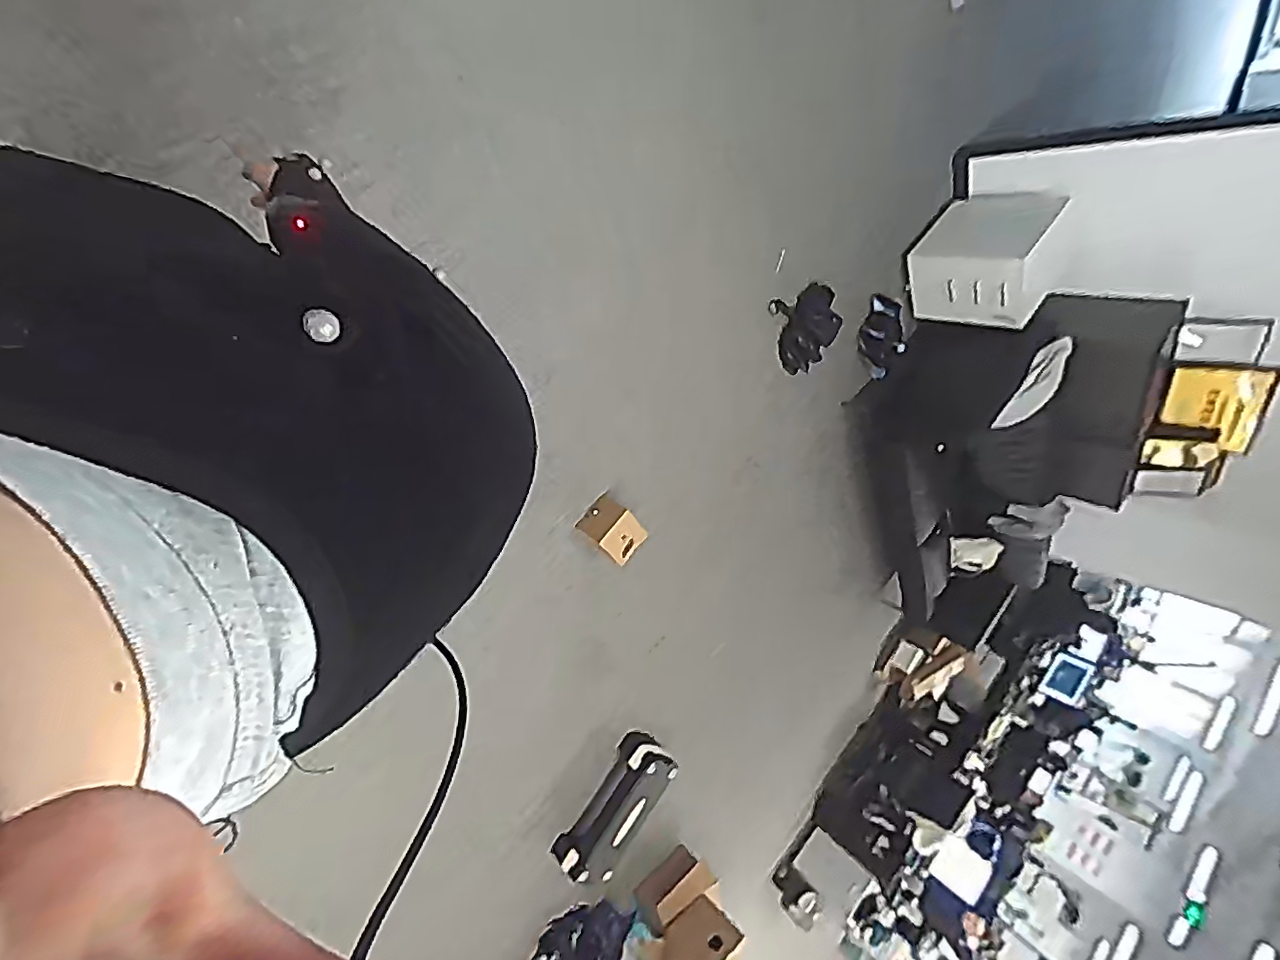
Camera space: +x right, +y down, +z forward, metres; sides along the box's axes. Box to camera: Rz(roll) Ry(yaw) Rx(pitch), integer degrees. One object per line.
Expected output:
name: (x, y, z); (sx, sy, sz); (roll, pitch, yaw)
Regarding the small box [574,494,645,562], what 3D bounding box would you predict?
small box: (-0.118, 0.180, 2.072); (0.168, 0.176, 0.179); (-50, 133, -14)
